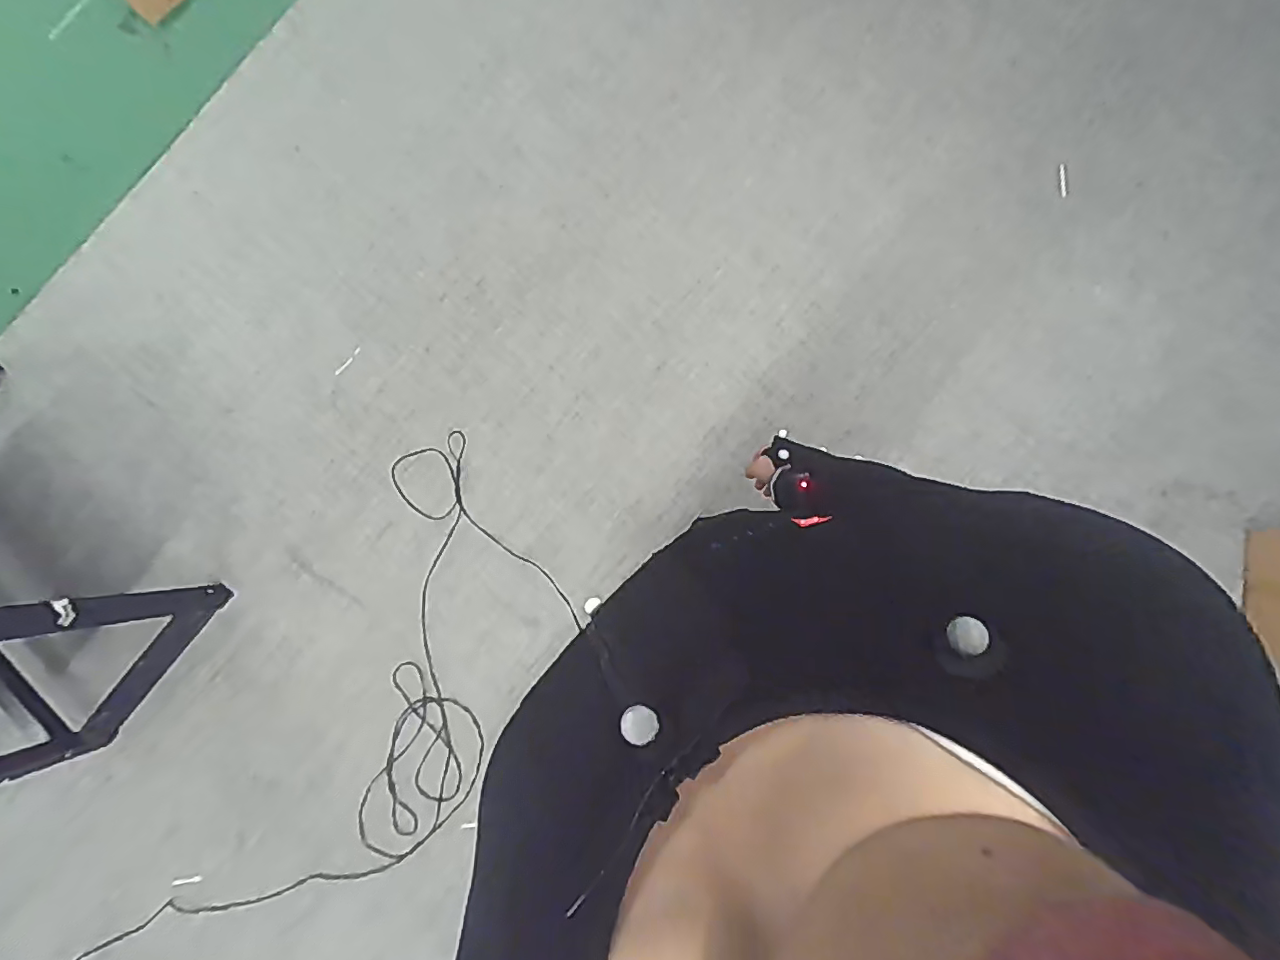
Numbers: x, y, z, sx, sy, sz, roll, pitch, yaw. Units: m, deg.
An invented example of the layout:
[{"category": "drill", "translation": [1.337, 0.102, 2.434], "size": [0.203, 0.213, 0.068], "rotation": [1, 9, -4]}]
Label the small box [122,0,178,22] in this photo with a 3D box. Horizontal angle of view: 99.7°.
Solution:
[{"category": "small box", "translation": [-1.664, -1.659, 1.763], "size": [0.168, 0.176, 0.179], "rotation": [-43, 82, -1]}]
